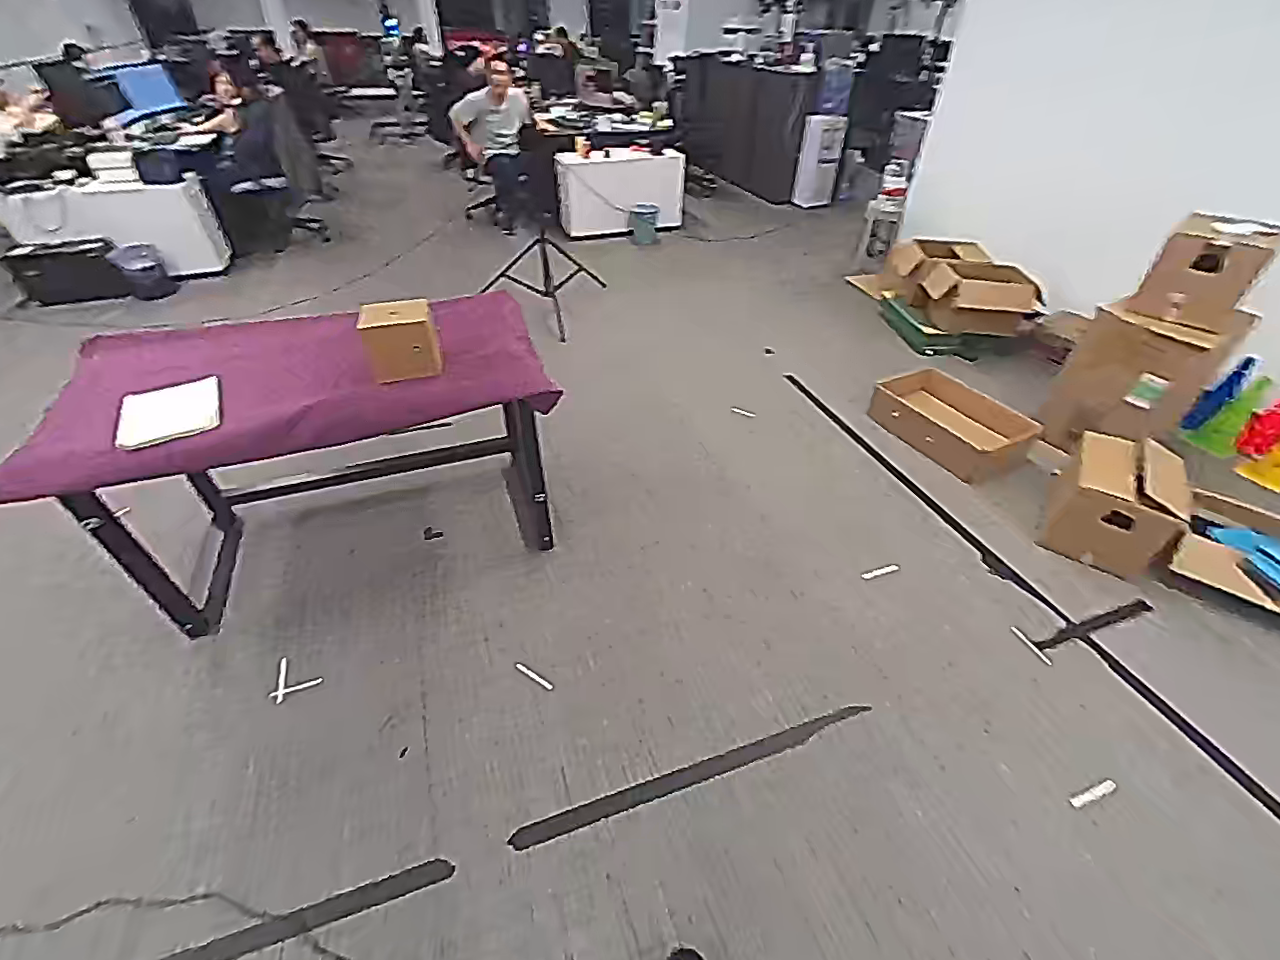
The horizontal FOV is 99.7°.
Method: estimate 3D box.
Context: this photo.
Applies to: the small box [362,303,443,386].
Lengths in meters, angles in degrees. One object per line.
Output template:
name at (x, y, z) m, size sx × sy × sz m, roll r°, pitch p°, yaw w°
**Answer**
small box at (-0.667, -0.386, 1.541) m, size 0.179 × 0.176 × 0.168 m, roll -12°, pitch 40°, yaw -12°
